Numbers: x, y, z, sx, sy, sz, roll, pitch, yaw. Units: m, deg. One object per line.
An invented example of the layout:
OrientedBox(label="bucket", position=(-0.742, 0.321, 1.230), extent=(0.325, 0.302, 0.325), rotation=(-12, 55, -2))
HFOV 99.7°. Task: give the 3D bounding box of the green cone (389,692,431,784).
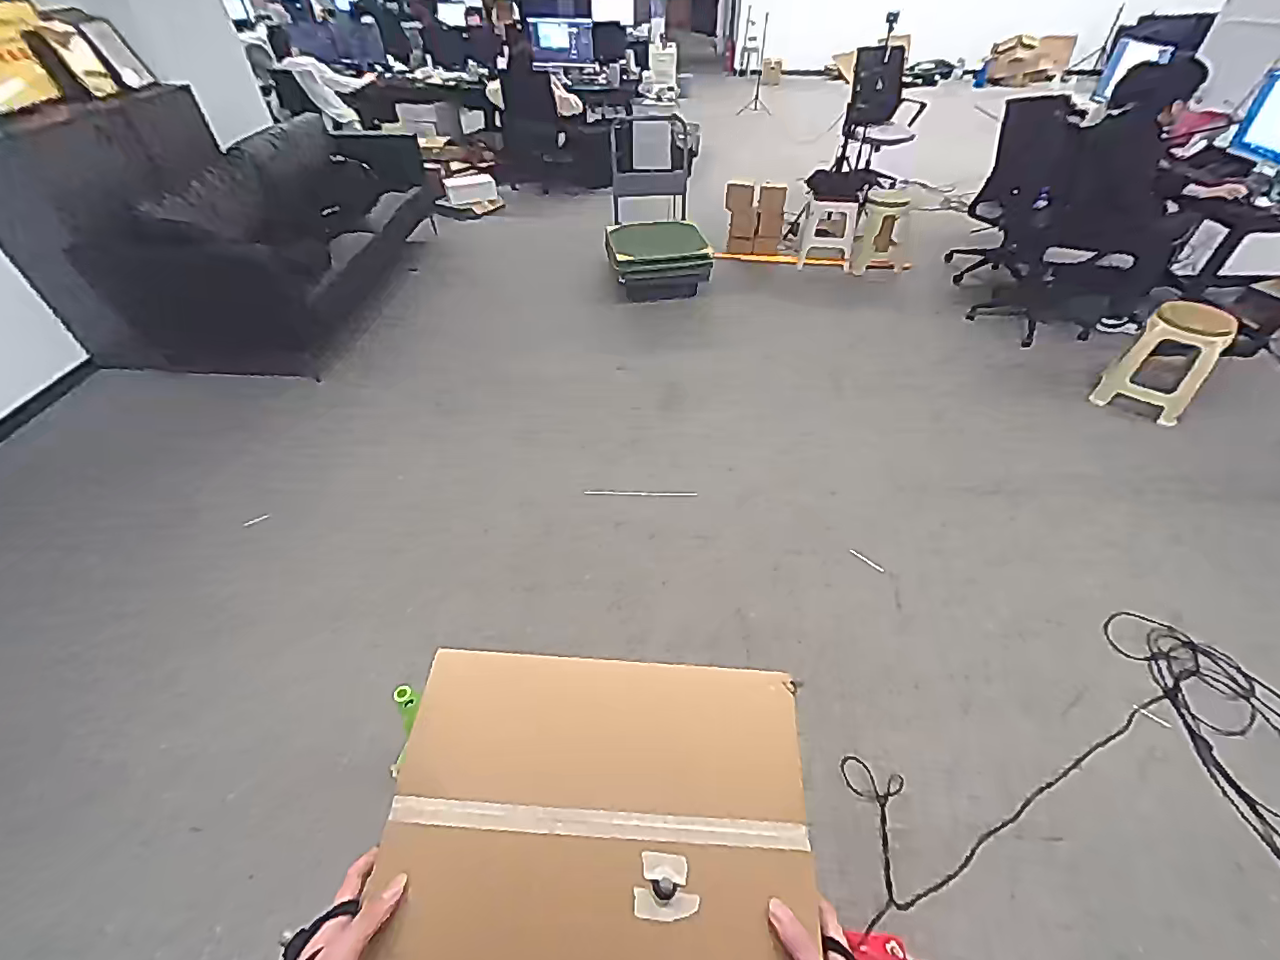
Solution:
OrientedBox(label="green cone", position=(-0.582, 0.646, 1.422), extent=(0.200, 0.368, 0.202), rotation=(6, 46, 7))

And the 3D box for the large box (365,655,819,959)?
OrientedBox(label="large box", position=(-0.041, 0.423, 0.652), extent=(0.408, 0.320, 0.320), rotation=(3, 54, 1))
